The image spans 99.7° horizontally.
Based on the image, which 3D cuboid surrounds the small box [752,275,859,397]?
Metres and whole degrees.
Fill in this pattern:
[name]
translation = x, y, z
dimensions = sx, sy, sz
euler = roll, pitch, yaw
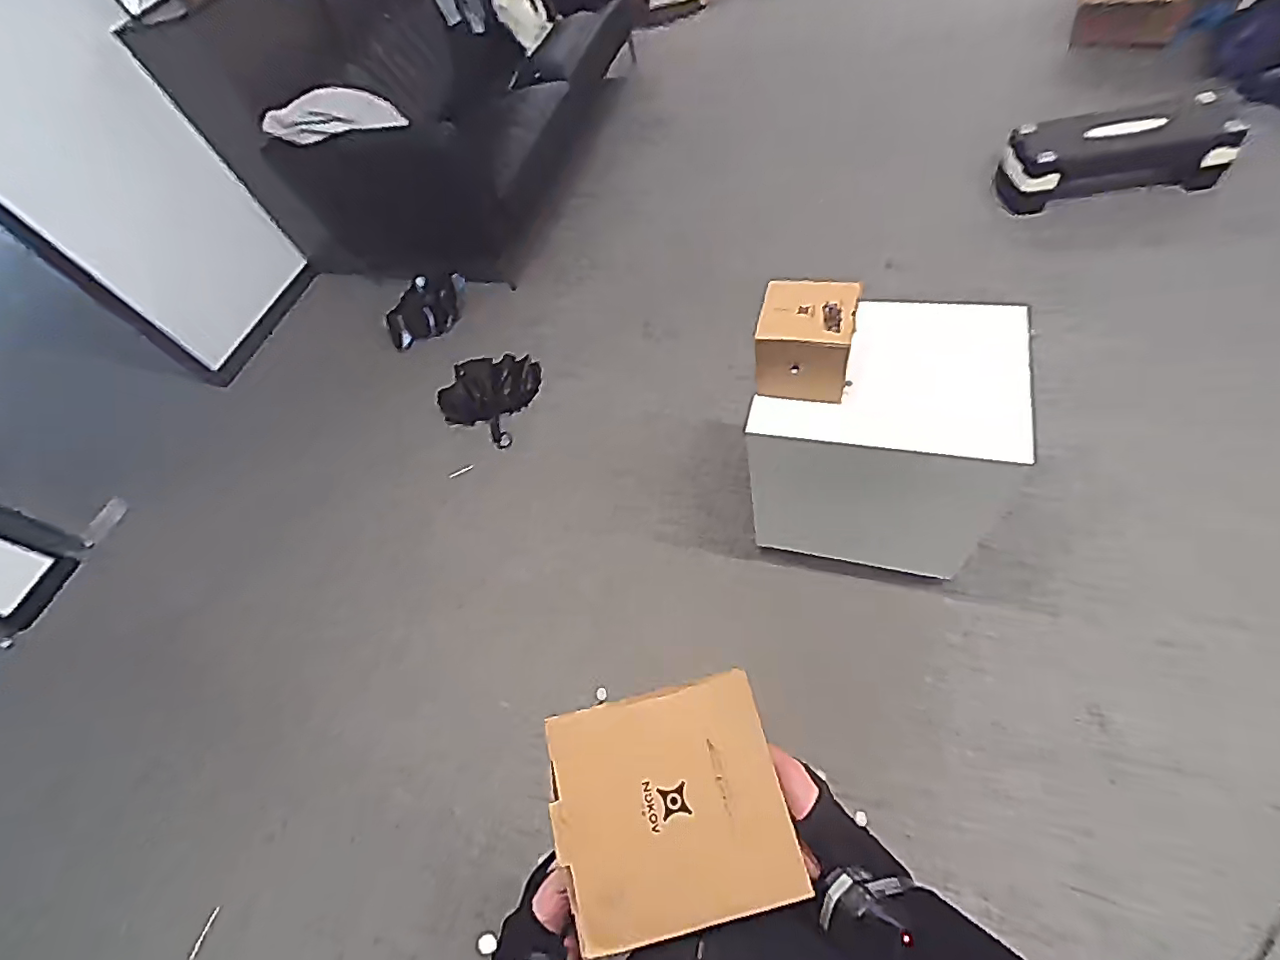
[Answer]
[small box]
translation = 0.331, -0.287, 1.092
dimensions = 0.179, 0.176, 0.168
euler = 10, 62, 19
